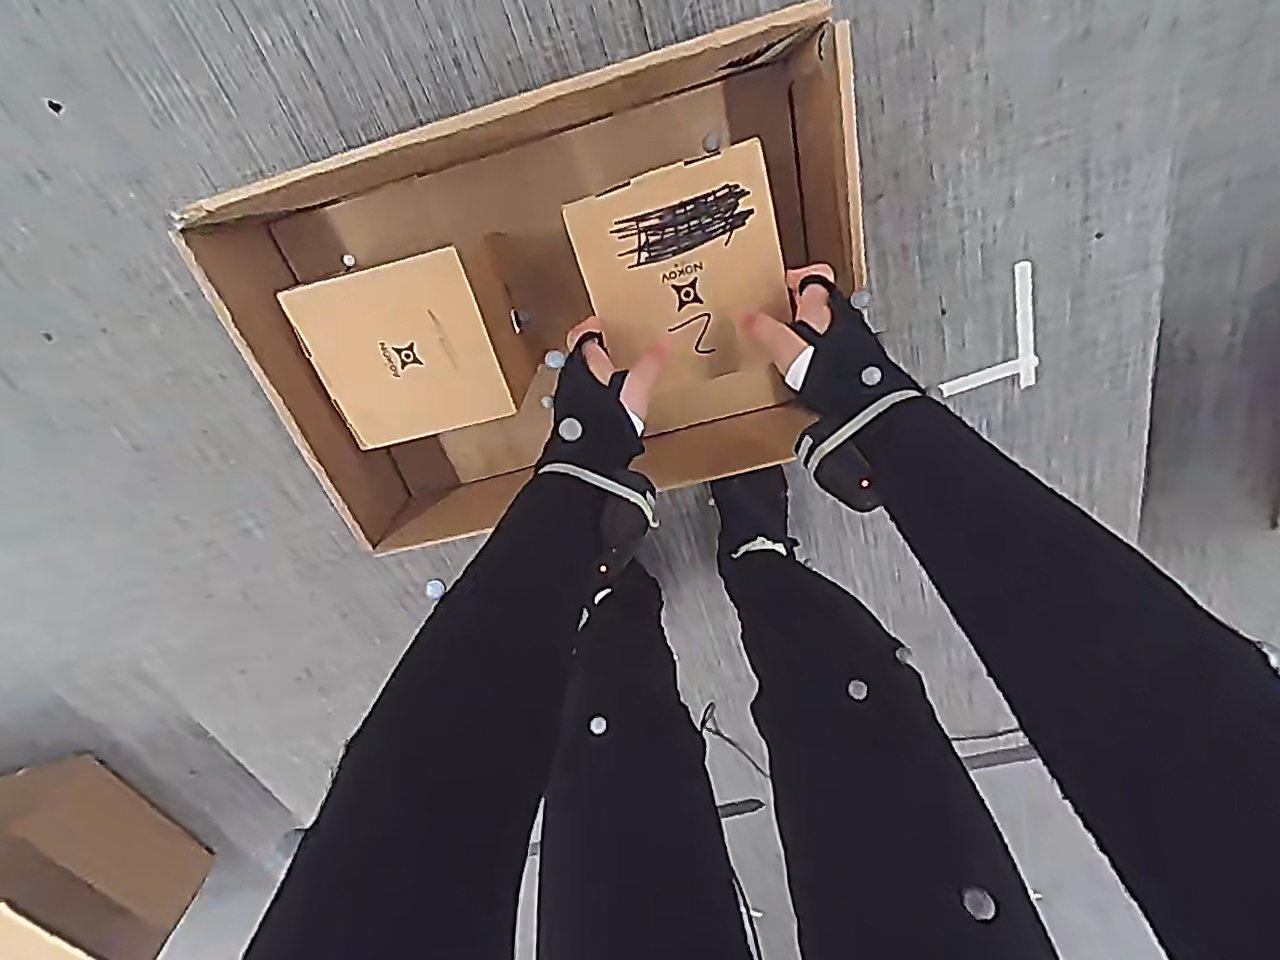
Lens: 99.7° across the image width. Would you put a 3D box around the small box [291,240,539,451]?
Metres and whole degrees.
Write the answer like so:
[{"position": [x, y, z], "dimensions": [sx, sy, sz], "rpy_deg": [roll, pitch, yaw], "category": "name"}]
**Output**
[{"position": [-0.227, -0.156, 0.601], "dimensions": [0.179, 0.176, 0.168], "rpy_deg": [-14, 119, 4], "category": "small box"}]
